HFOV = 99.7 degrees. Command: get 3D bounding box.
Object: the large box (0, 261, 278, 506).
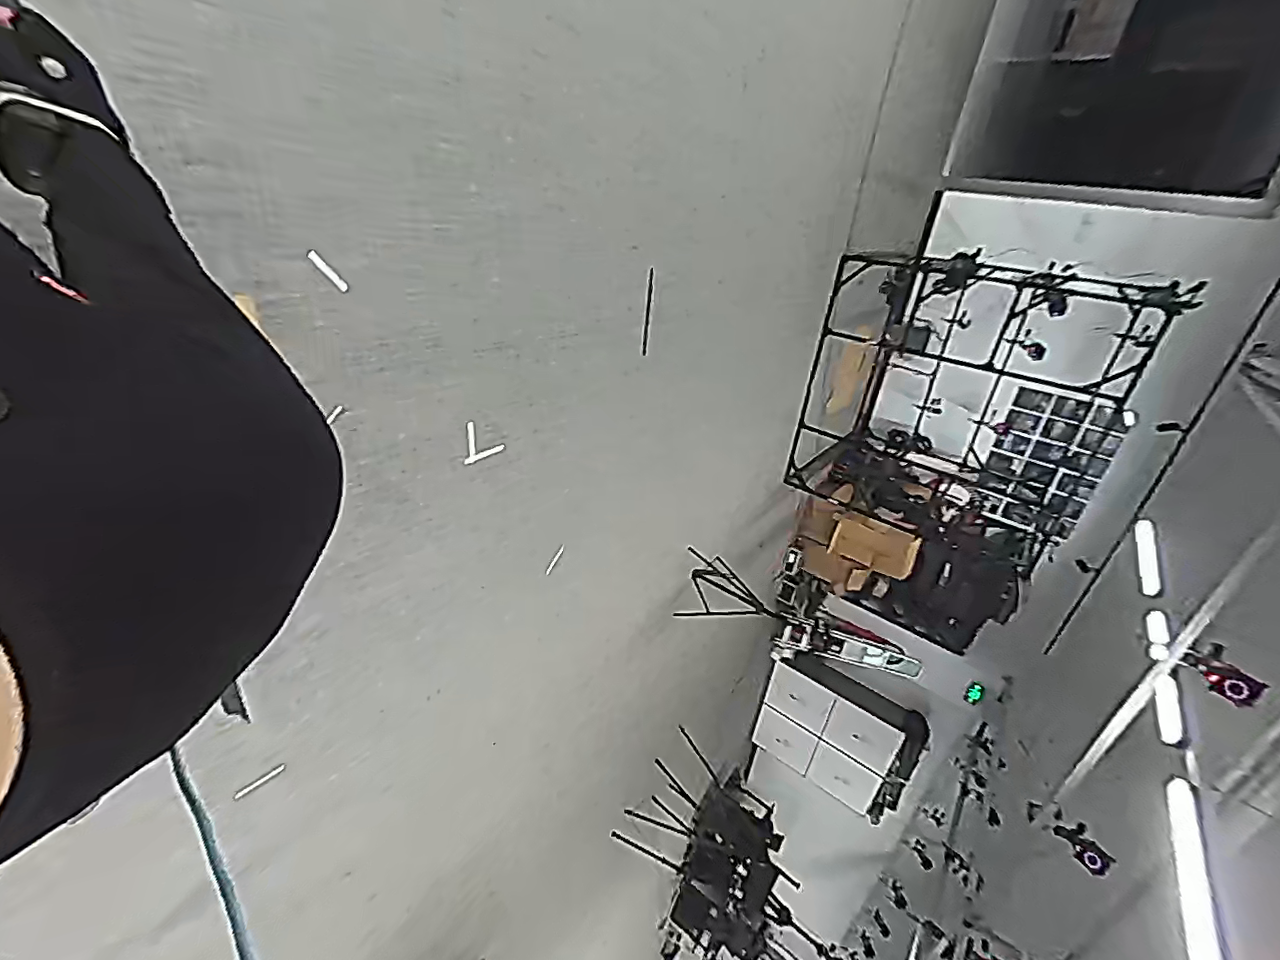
[{"bbox_3d":[-0.989,-0.211,1.008,0.408,0.320,0.320,-28,134,-46],"label":"large box"}]
